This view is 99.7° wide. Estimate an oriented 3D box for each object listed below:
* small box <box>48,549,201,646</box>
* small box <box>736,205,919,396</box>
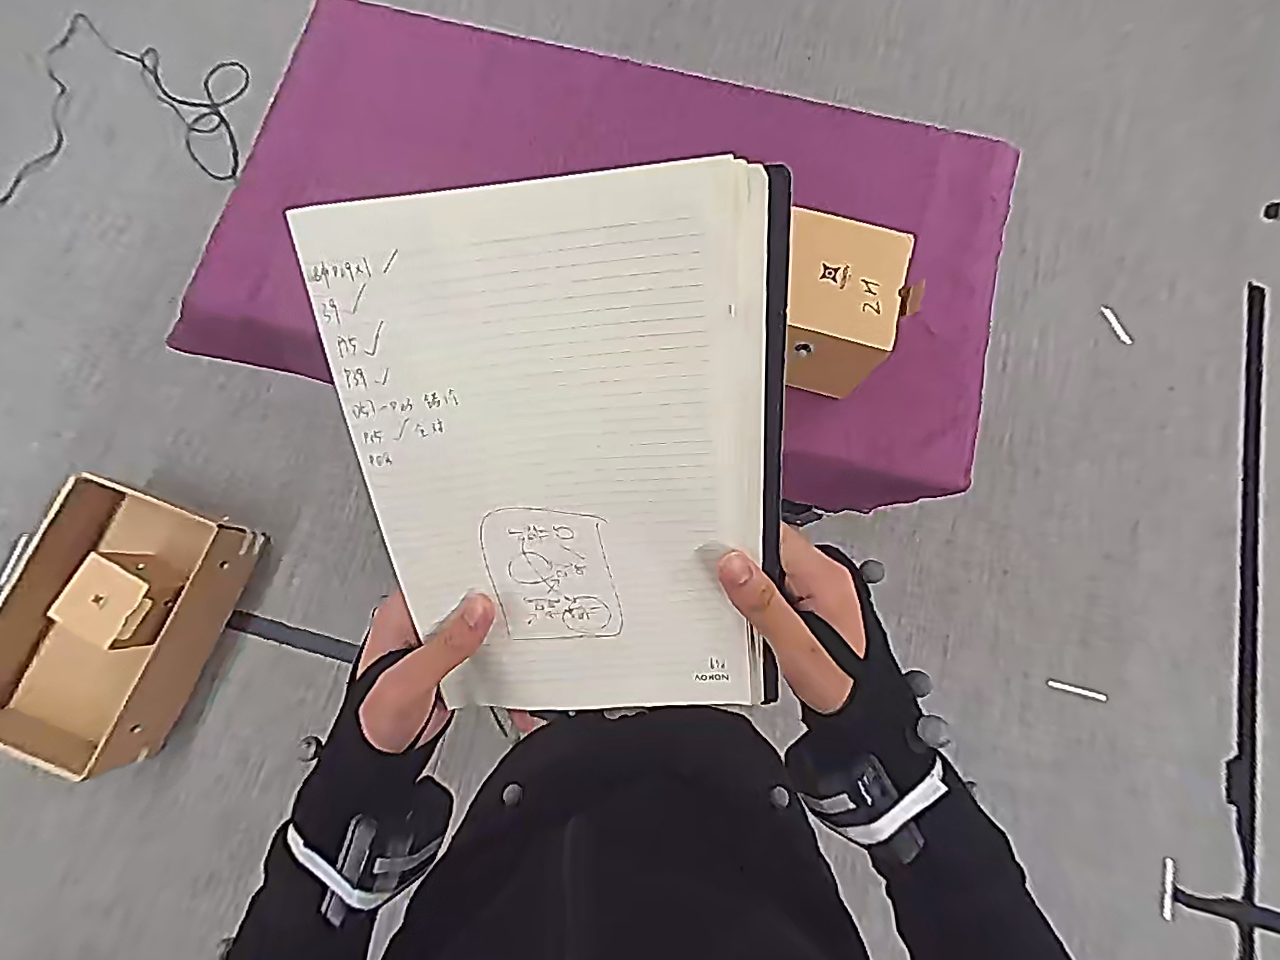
[{"bbox_3d":[-1.240,0.281,1.318,0.179,0.176,0.168,29,80,5],"label":"small box"},{"bbox_3d":[0.244,-0.233,0.742,0.179,0.176,0.168,16,79,3],"label":"small box"}]
